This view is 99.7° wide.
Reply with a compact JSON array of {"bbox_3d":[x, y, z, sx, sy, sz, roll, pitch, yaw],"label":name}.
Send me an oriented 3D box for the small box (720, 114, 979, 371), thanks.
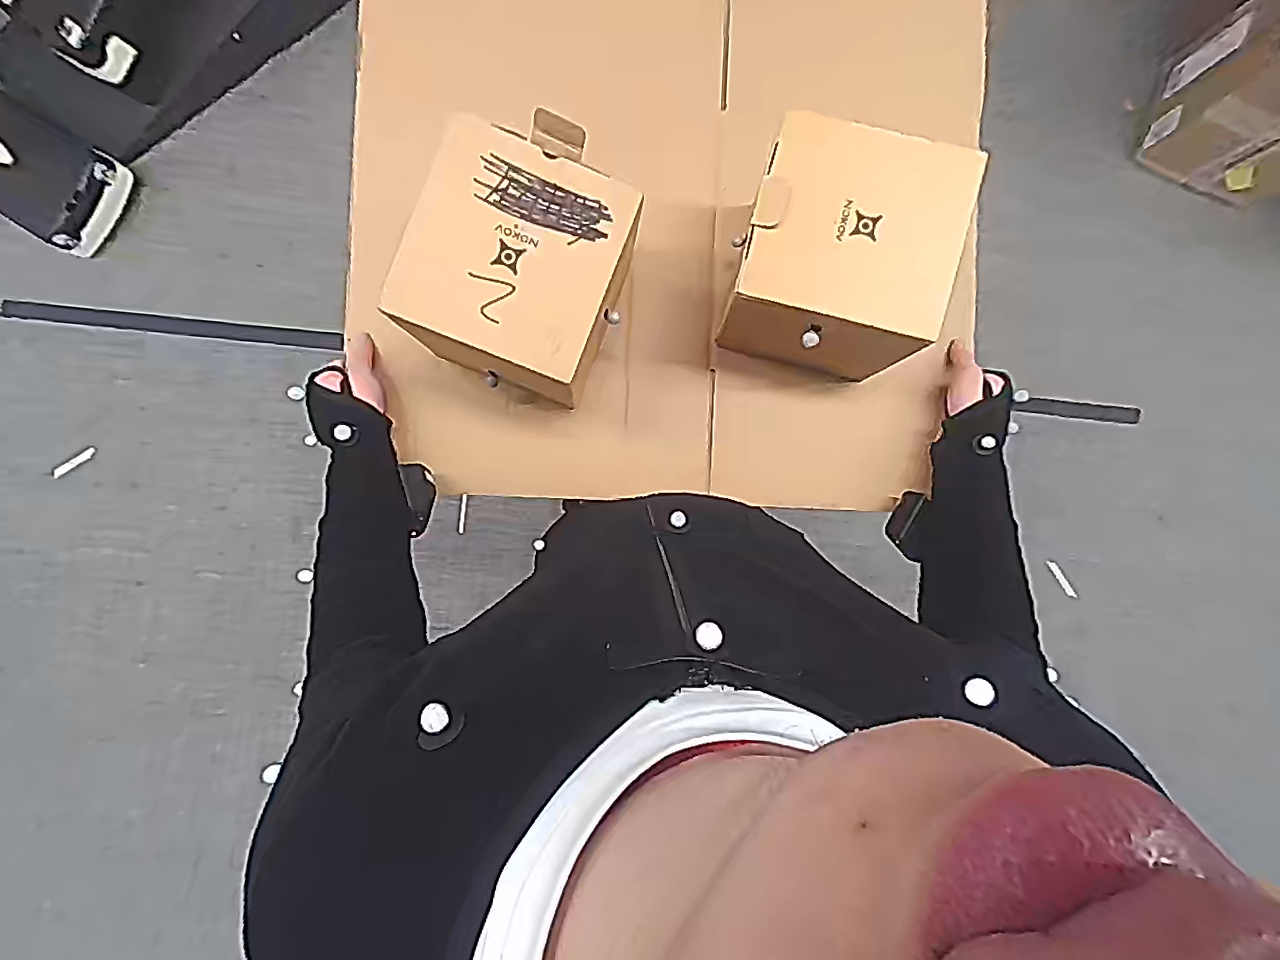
[{"bbox_3d":[0.190,-0.218,0.547,0.179,0.176,0.168,15,90,3],"label":"small box"}]
